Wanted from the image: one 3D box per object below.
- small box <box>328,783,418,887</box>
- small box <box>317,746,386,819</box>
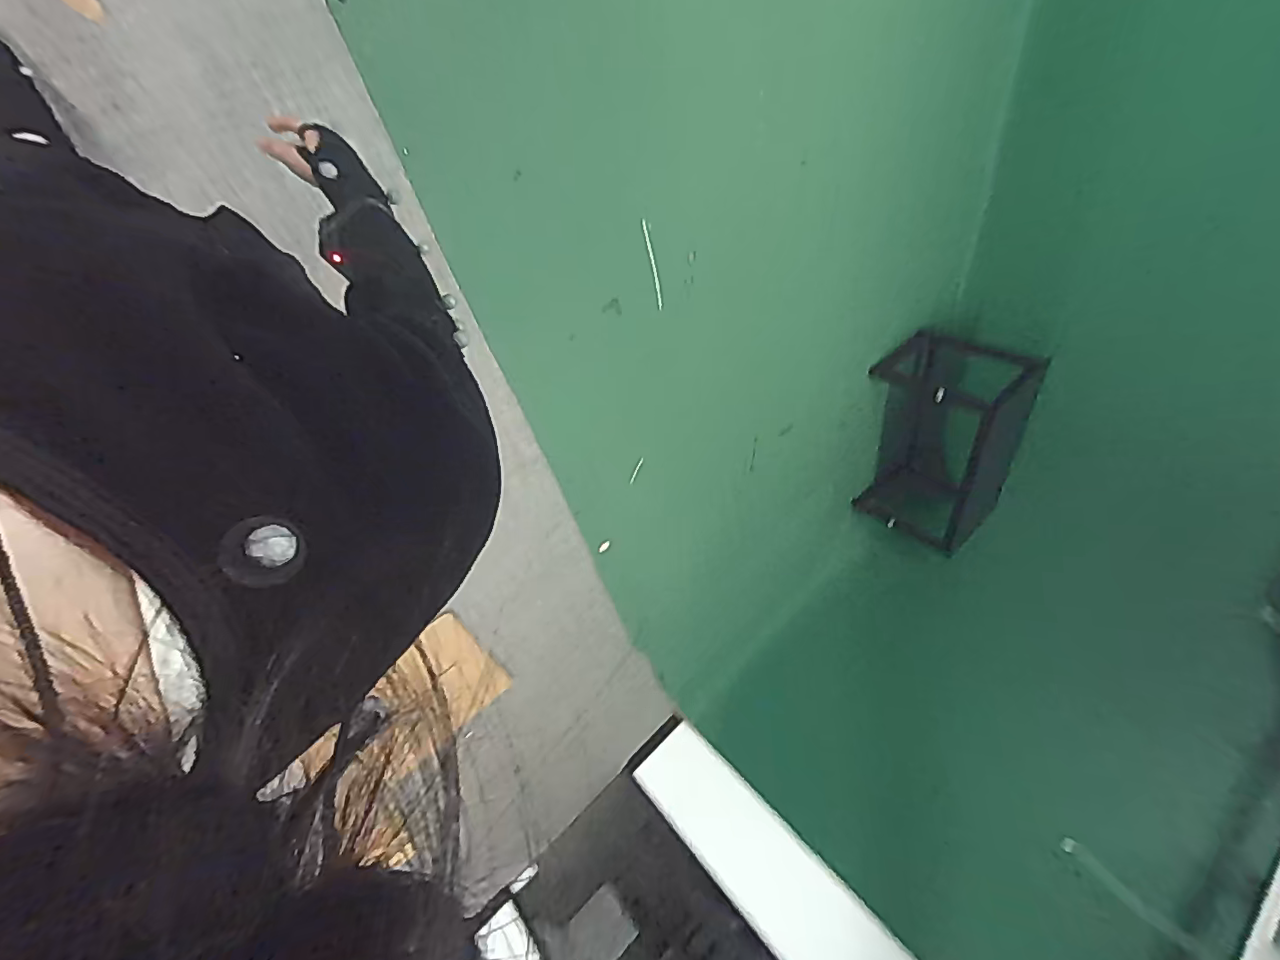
[{"bbox_3d":[-0.805,1.061,1.630,0.179,0.176,0.168,-29,135,-29],"label":"small box"},{"bbox_3d":[-0.914,1.003,1.738,0.168,0.176,0.179,-21,130,-34],"label":"small box"}]
